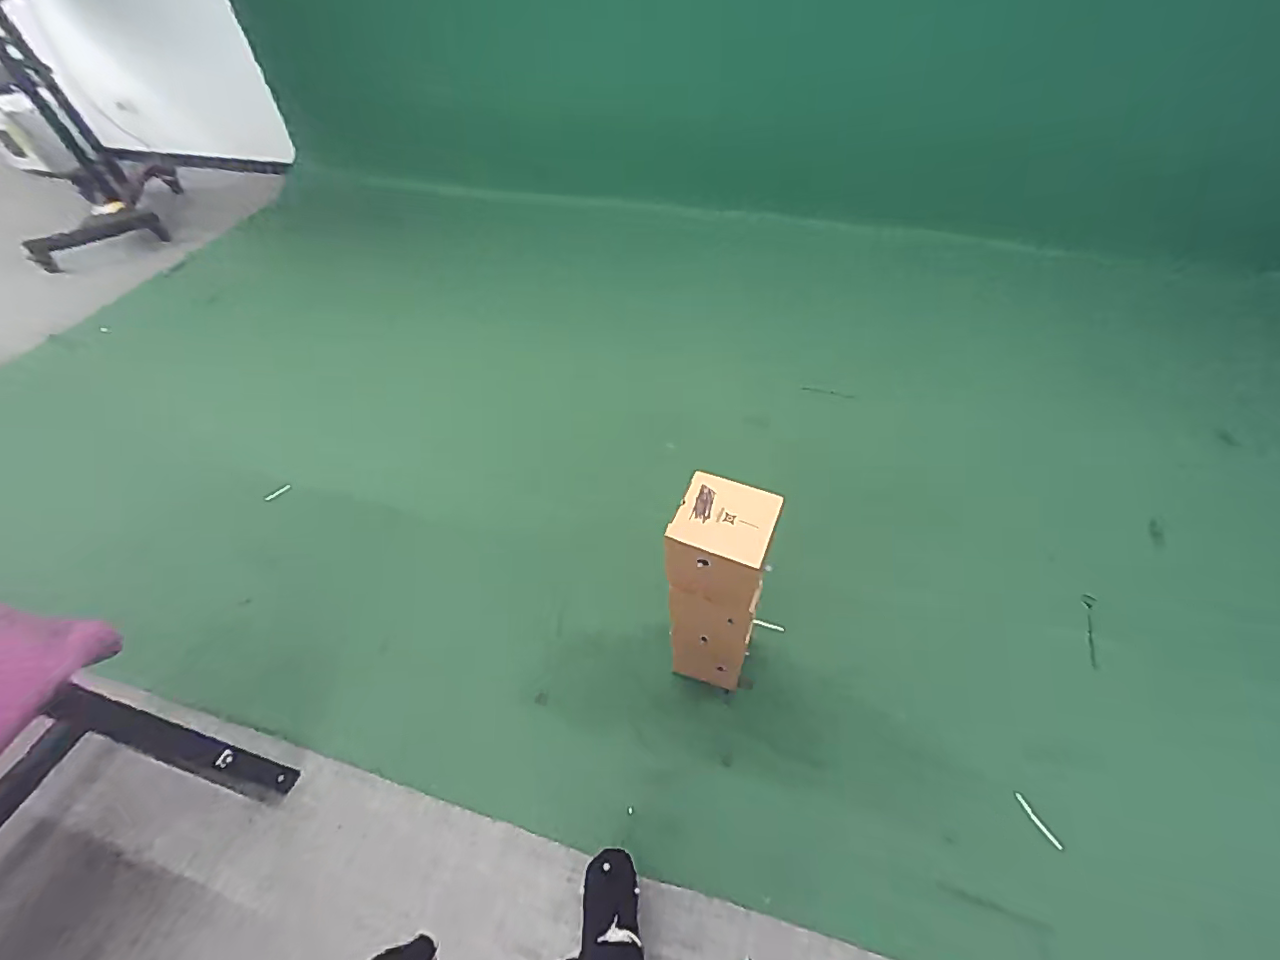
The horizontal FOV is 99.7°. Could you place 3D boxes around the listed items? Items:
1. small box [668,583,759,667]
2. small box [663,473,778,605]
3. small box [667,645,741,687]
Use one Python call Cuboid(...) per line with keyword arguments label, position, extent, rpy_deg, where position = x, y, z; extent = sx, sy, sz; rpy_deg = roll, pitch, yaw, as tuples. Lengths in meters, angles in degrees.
Cuboid(label="small box", position=(0.172, 0.327, 1.294), extent=(0.179, 0.176, 0.168), rpy_deg=(14, 53, 13))
Cuboid(label="small box", position=(0.153, 0.117, 1.042), extent=(0.179, 0.176, 0.168), rpy_deg=(15, 53, 15))
Cuboid(label="small box", position=(0.178, 0.424, 1.425), extent=(0.179, 0.176, 0.168), rpy_deg=(14, 52, 13))
